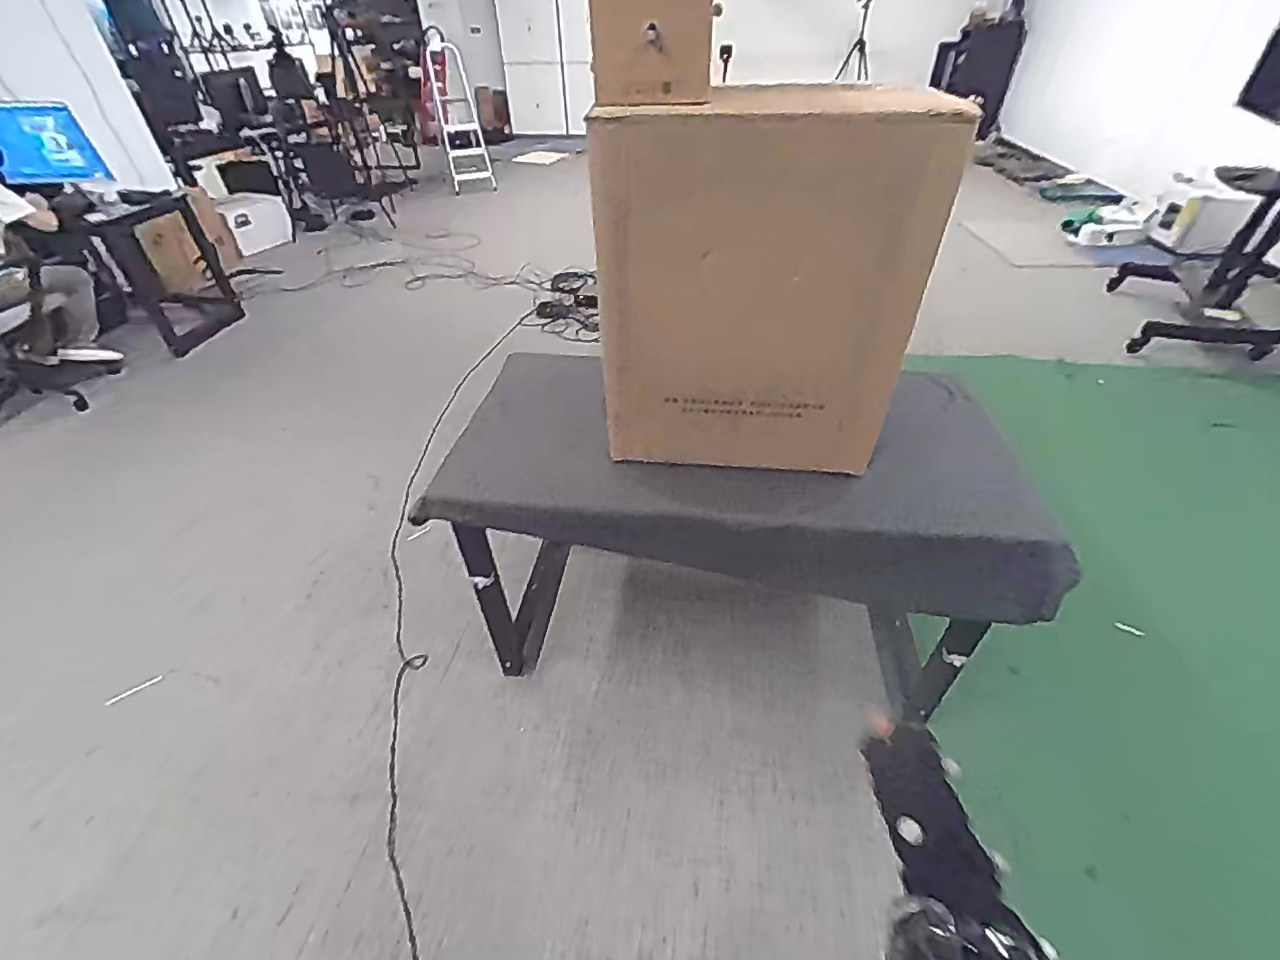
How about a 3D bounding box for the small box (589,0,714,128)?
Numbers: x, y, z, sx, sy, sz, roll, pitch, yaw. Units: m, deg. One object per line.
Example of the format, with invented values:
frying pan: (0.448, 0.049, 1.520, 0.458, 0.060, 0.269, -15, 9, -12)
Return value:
small box: (0.024, -0.630, 0.797, 0.168, 0.176, 0.179, 0, 42, 4)
